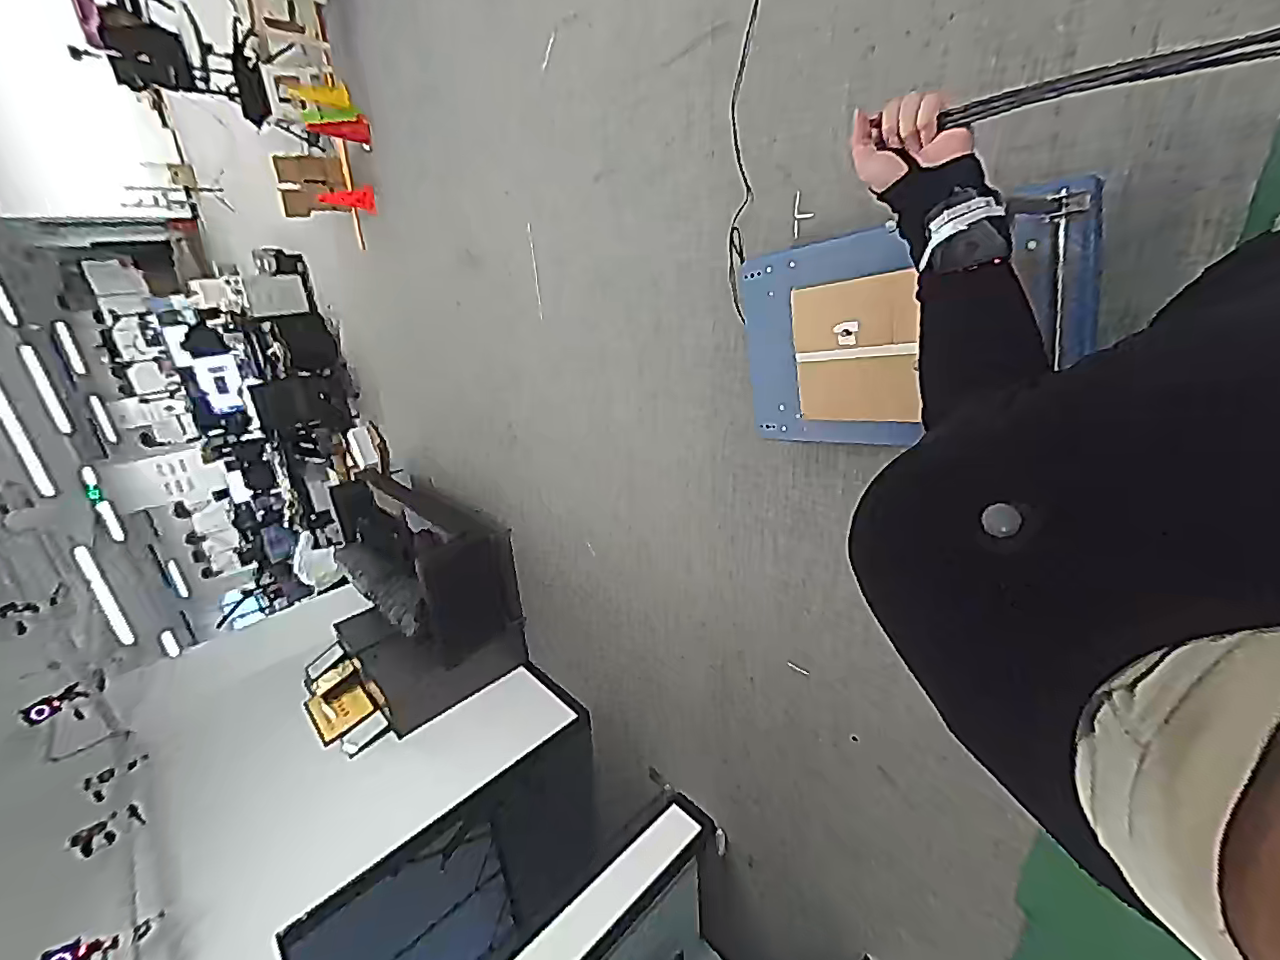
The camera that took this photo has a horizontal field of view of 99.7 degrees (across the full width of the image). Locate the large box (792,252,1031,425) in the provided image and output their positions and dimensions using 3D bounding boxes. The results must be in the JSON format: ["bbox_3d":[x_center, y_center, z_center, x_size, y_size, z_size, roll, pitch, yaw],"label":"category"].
[{"bbox_3d":[0.621,-0.315,1.244,0.408,0.320,0.320,9,113,49],"label":"large box"}]
